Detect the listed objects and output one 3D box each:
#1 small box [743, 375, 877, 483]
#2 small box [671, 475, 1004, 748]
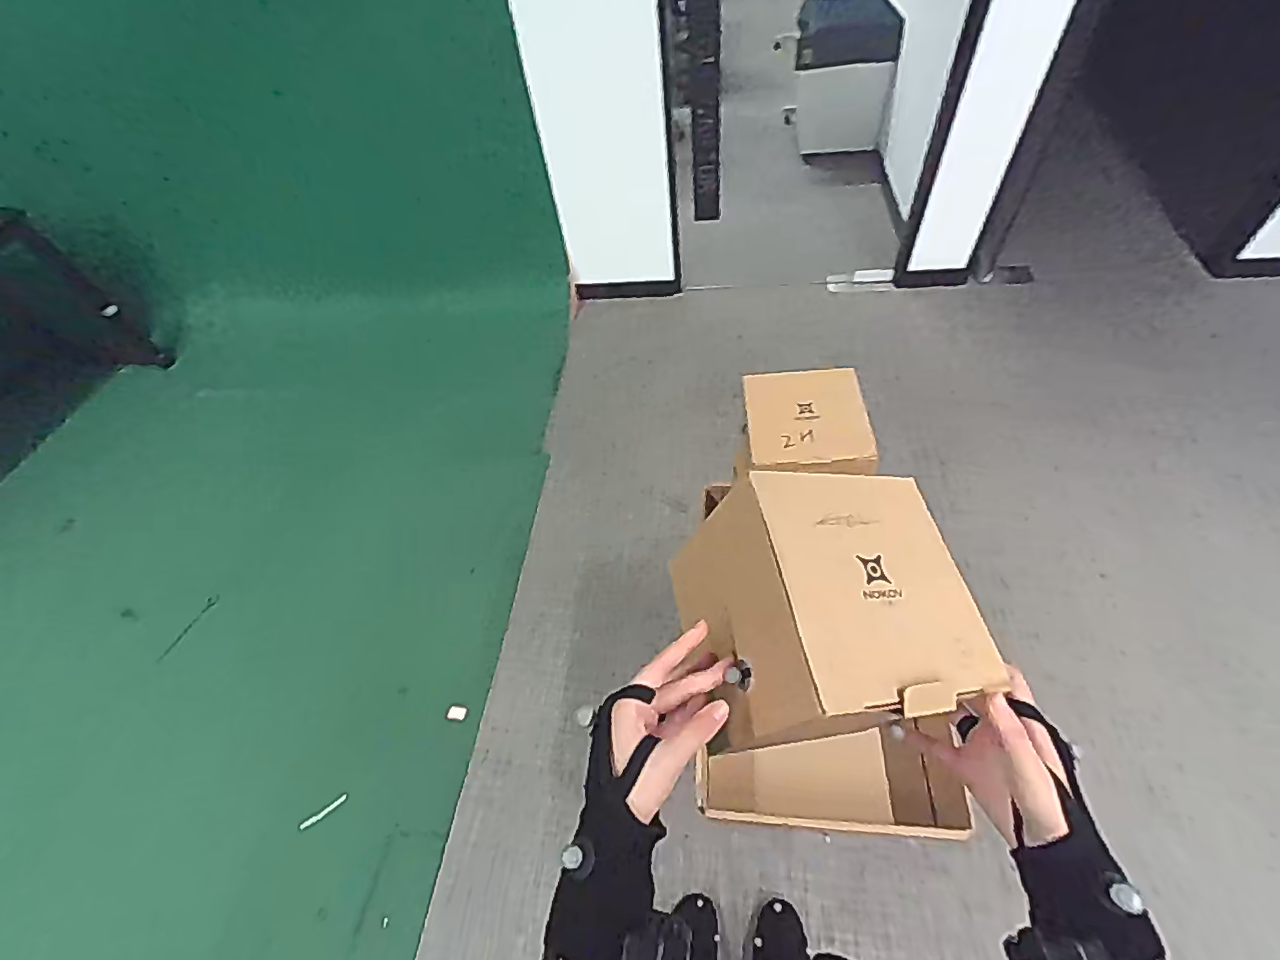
[{"bbox_3d":[0.249,-0.039,0.839,0.168,0.176,0.179,-3,54,8],"label":"small box"},{"bbox_3d":[0.141,0.117,0.454,0.168,0.176,0.179,4,55,-21],"label":"small box"}]
